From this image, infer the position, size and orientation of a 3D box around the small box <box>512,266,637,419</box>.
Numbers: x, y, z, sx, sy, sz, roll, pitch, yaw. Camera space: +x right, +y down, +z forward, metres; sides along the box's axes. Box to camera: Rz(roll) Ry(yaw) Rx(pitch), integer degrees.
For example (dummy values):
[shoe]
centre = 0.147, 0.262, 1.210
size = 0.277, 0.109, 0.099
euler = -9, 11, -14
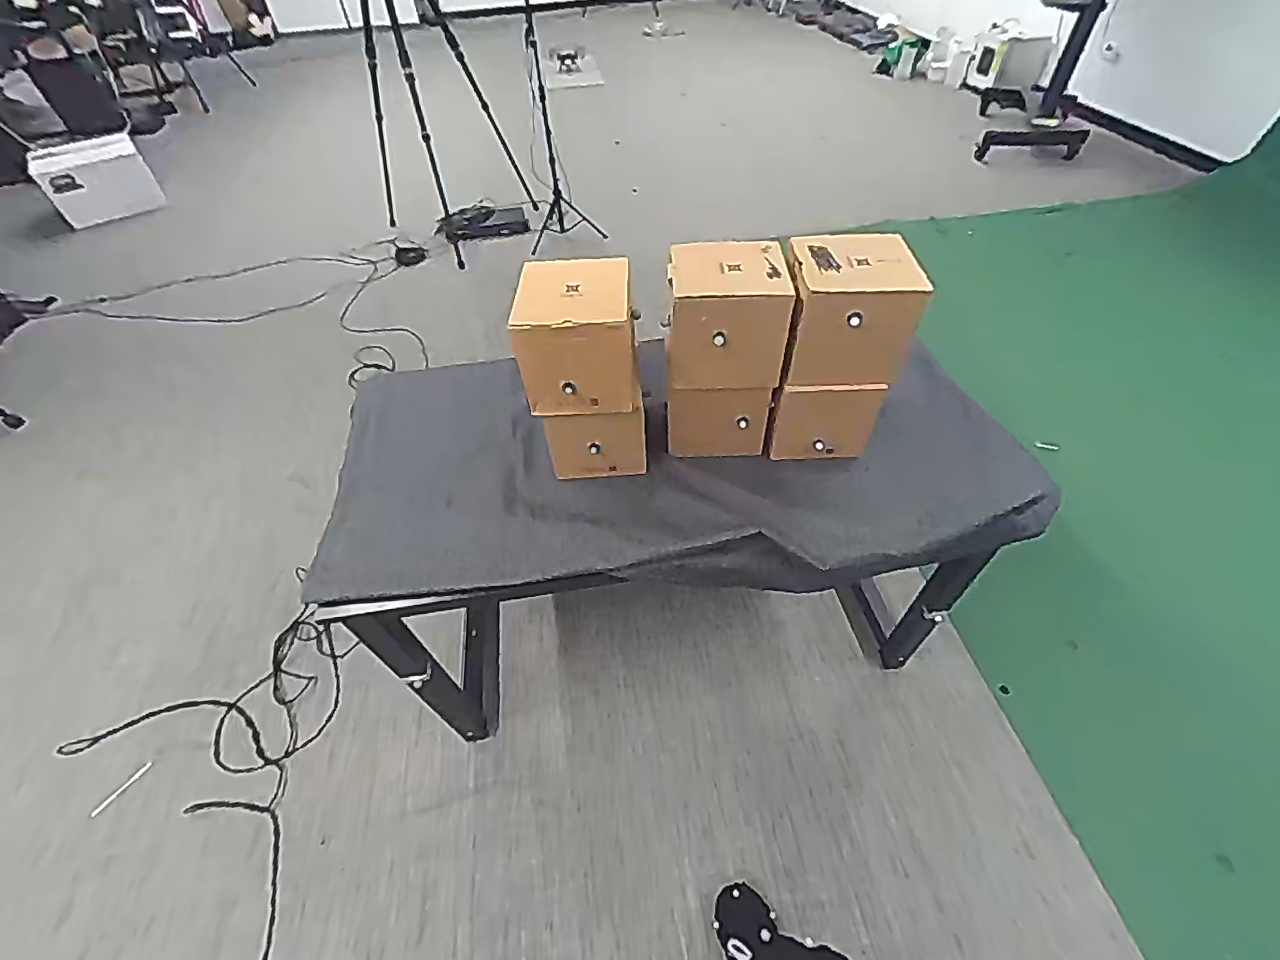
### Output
[small box]
centre = -0.093, -0.216, 0.858
size = 0.168, 0.176, 0.179
euler = -2, 51, 2
